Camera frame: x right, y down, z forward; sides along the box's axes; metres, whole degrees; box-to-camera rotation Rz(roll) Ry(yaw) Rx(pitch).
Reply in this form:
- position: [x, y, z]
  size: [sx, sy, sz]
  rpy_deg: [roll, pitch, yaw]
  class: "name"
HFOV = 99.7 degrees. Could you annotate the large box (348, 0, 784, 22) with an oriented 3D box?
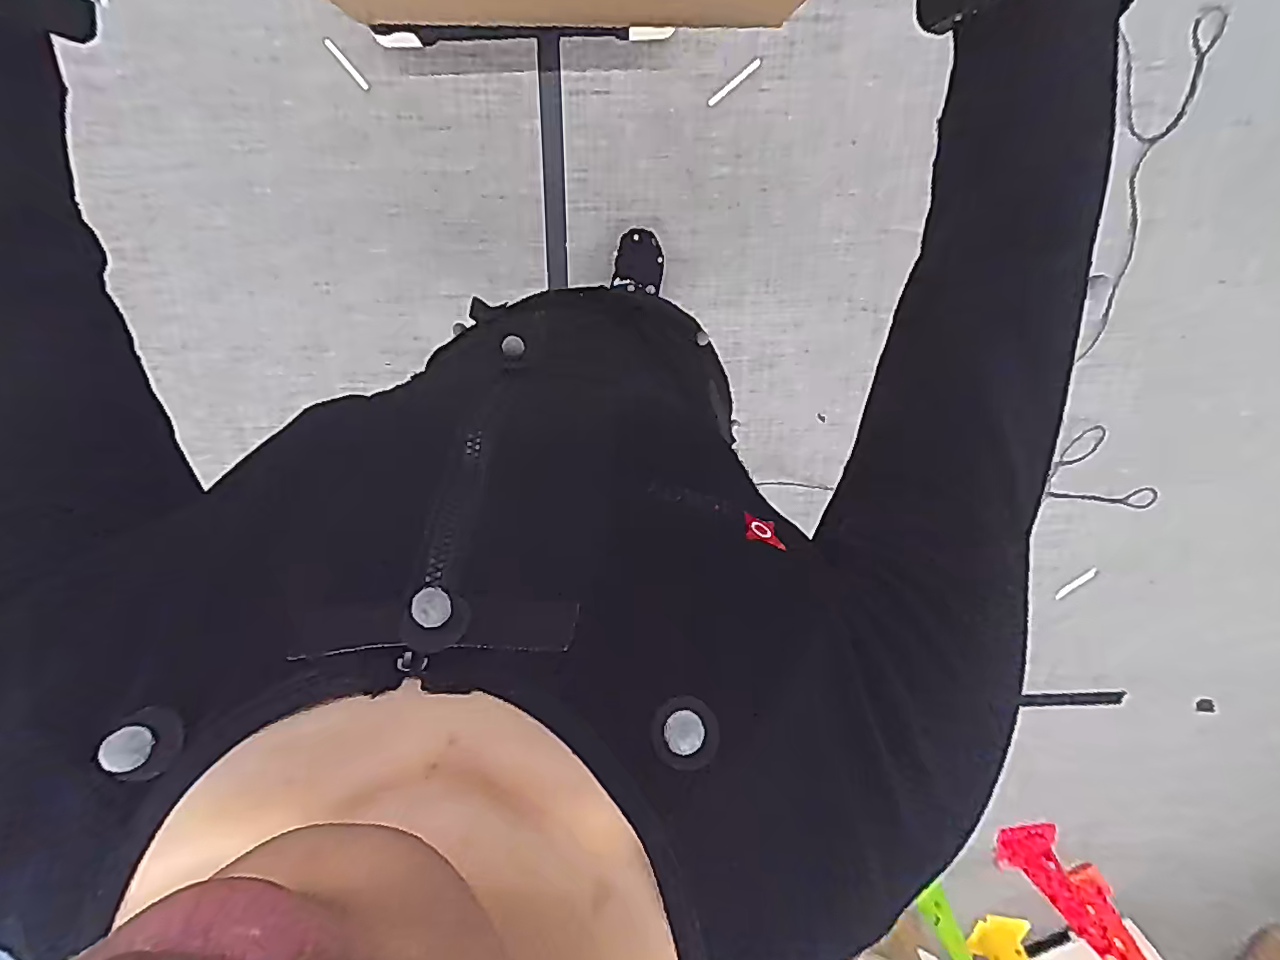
- position: [-0.056, -0.510, 0.314]
  size: [0.408, 0.320, 0.320]
  rpy_deg: [-3, 118, -3]
  class: "large box"
